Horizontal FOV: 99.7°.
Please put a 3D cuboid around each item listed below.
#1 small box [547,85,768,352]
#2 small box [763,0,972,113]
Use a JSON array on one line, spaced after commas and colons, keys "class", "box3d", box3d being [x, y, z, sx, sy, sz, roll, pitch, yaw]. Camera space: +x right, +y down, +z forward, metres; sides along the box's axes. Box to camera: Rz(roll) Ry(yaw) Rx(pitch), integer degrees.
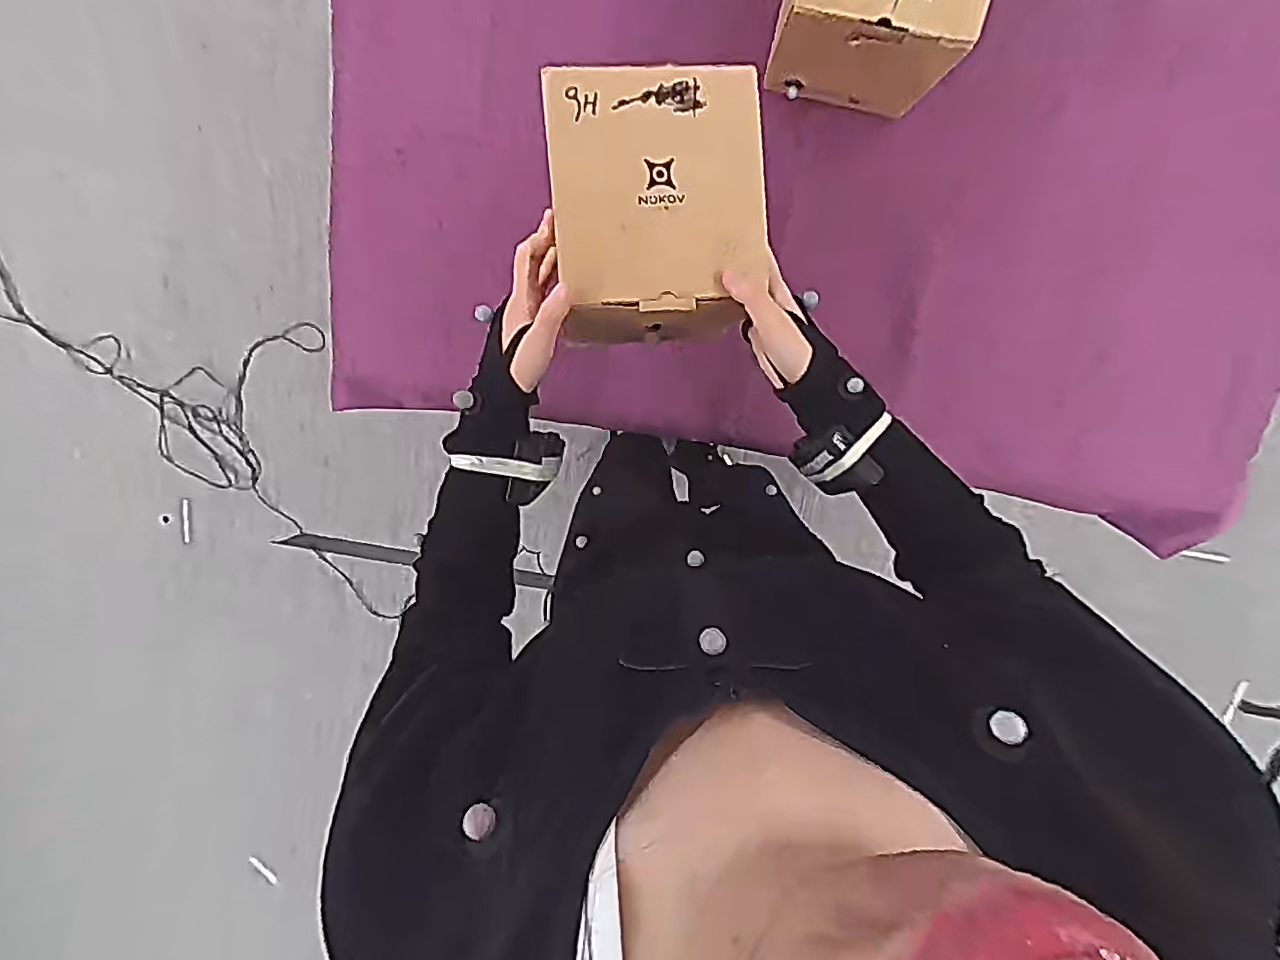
[{"class": "small box", "box3d": [0.007, -0.219, 0.497, 0.168, 0.176, 0.179, -5, 92, -7]}, {"class": "small box", "box3d": [0.229, -0.505, 0.539, 0.168, 0.176, 0.179, 12, 104, 0]}]
